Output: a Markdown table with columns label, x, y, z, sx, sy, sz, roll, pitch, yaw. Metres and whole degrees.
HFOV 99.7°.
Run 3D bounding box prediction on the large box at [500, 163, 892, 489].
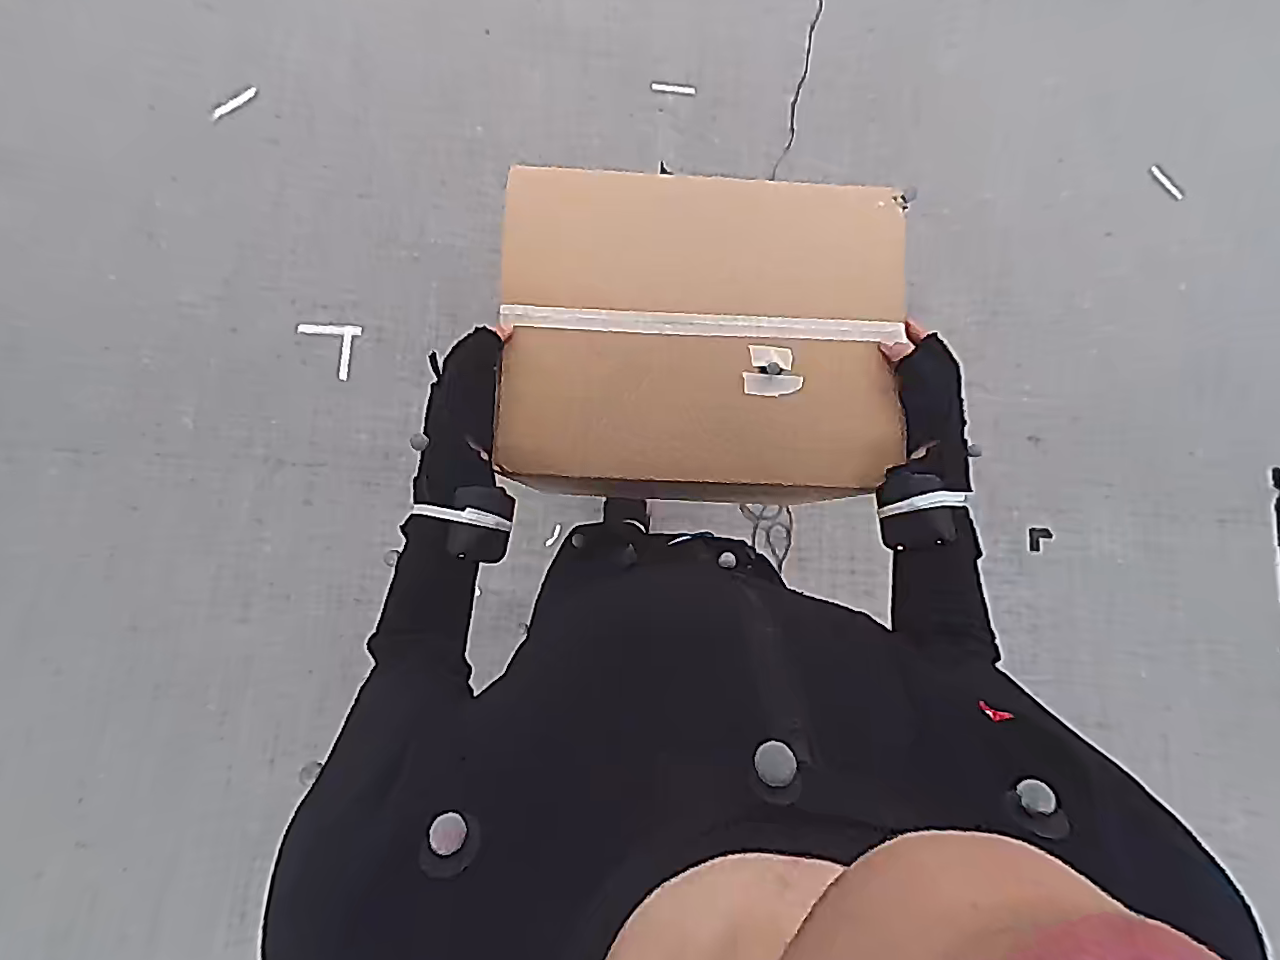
| label | x | y | z | sx | sy | sz | roll | pitch | yaw |
| --- | --- | --- | --- | --- | --- | --- | --- | --- | --- |
| large box | 0.054 | -0.157 | 0.702 | 0.408 | 0.320 | 0.320 | 3 | 86 | -3 |
